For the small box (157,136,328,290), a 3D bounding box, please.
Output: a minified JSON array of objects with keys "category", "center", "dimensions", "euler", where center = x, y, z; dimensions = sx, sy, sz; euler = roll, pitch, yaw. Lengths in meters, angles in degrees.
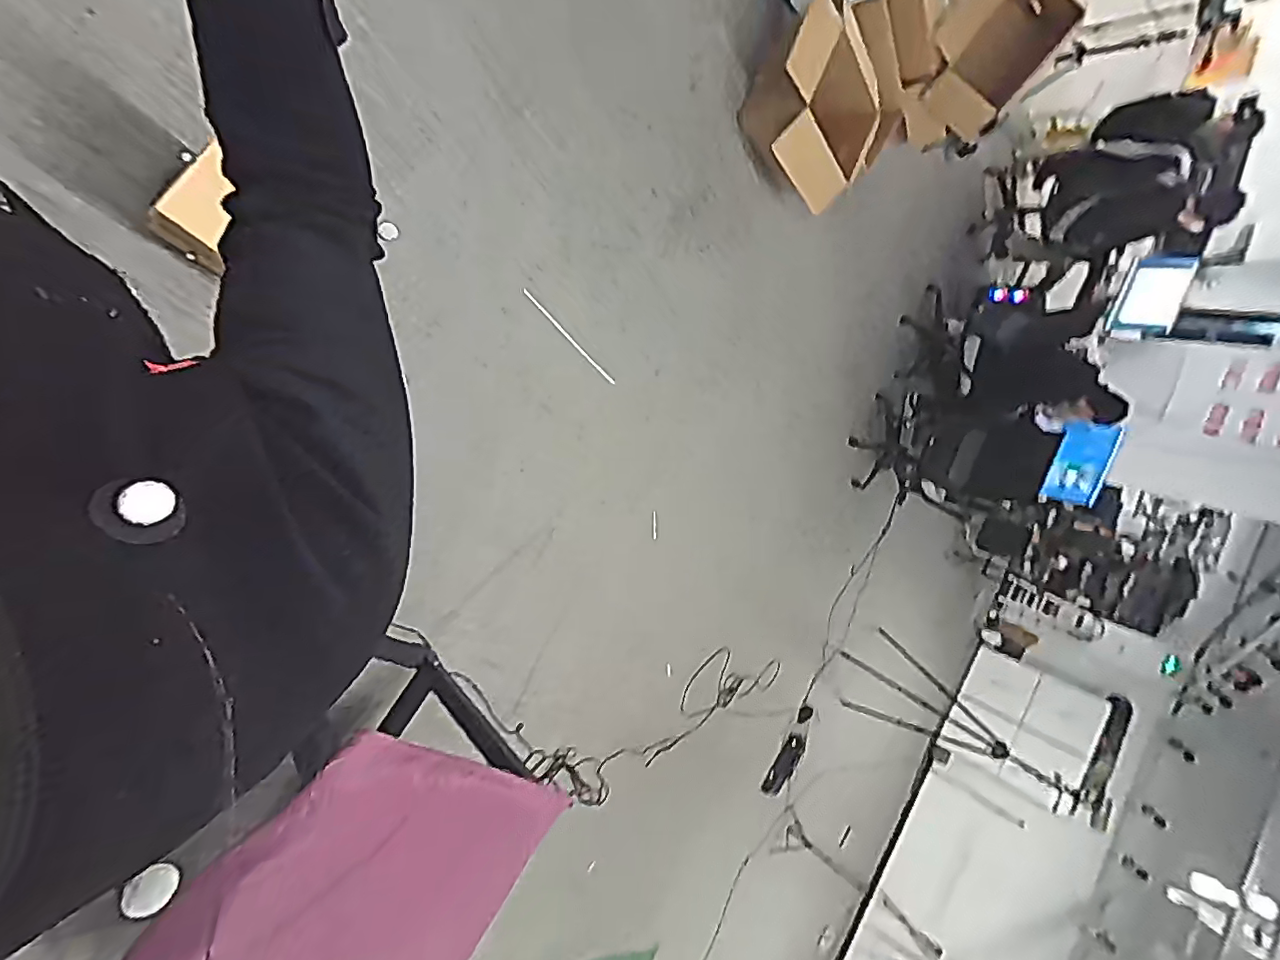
[{"category":"small box","center":[-0.701,-0.456,0.950],"dimensions":[0.179,0.176,0.168],"euler":[41,76,-46]}]
